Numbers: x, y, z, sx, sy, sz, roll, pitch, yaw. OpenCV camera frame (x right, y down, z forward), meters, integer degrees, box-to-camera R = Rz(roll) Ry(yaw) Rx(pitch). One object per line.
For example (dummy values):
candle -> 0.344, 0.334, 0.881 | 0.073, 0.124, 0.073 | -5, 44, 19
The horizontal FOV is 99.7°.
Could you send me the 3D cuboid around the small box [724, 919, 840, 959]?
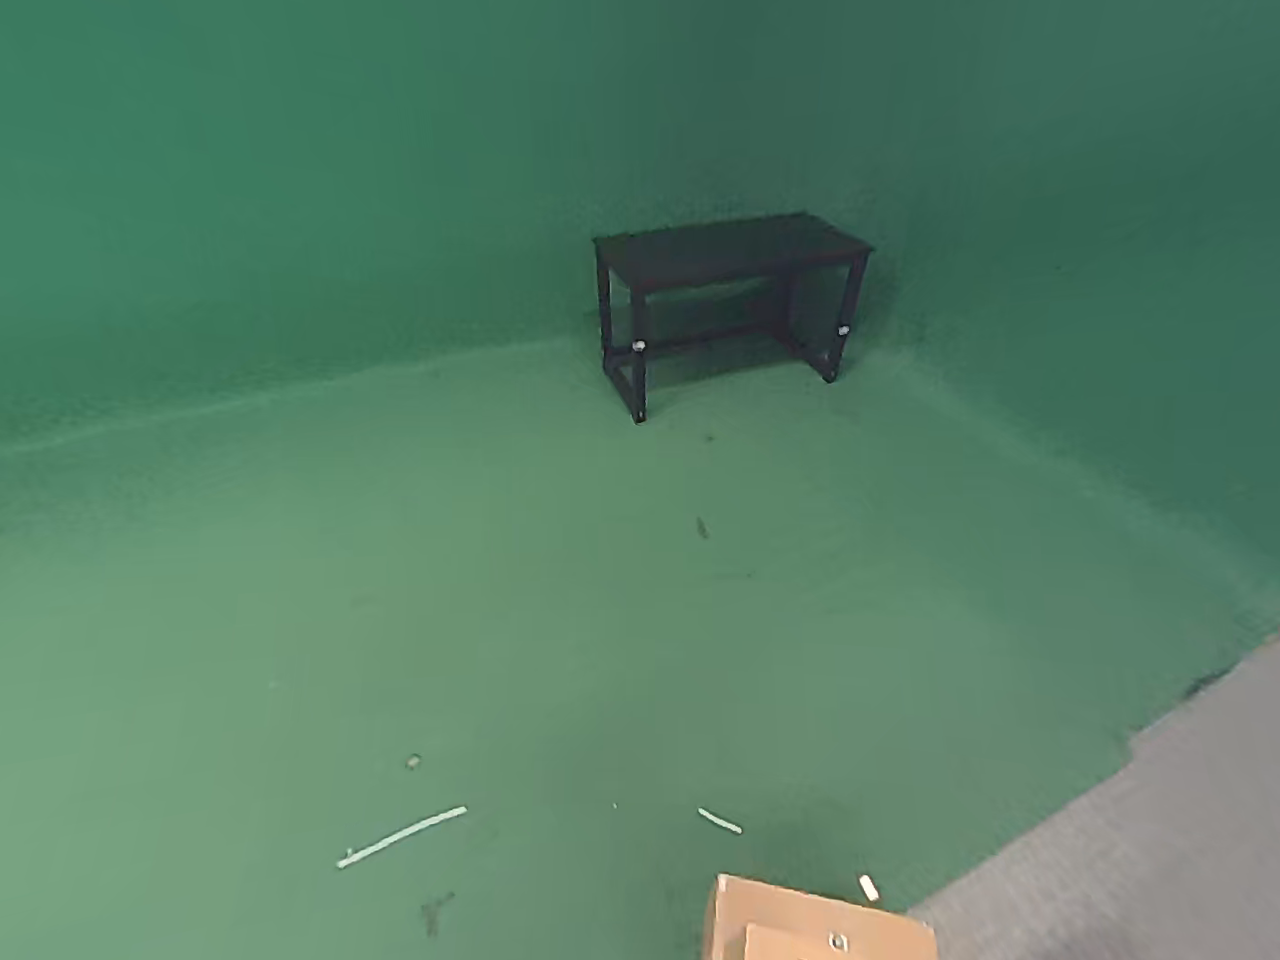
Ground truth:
small box -> 0.217, 0.854, 0.872 | 0.168, 0.176, 0.179 | 11, 44, 10
